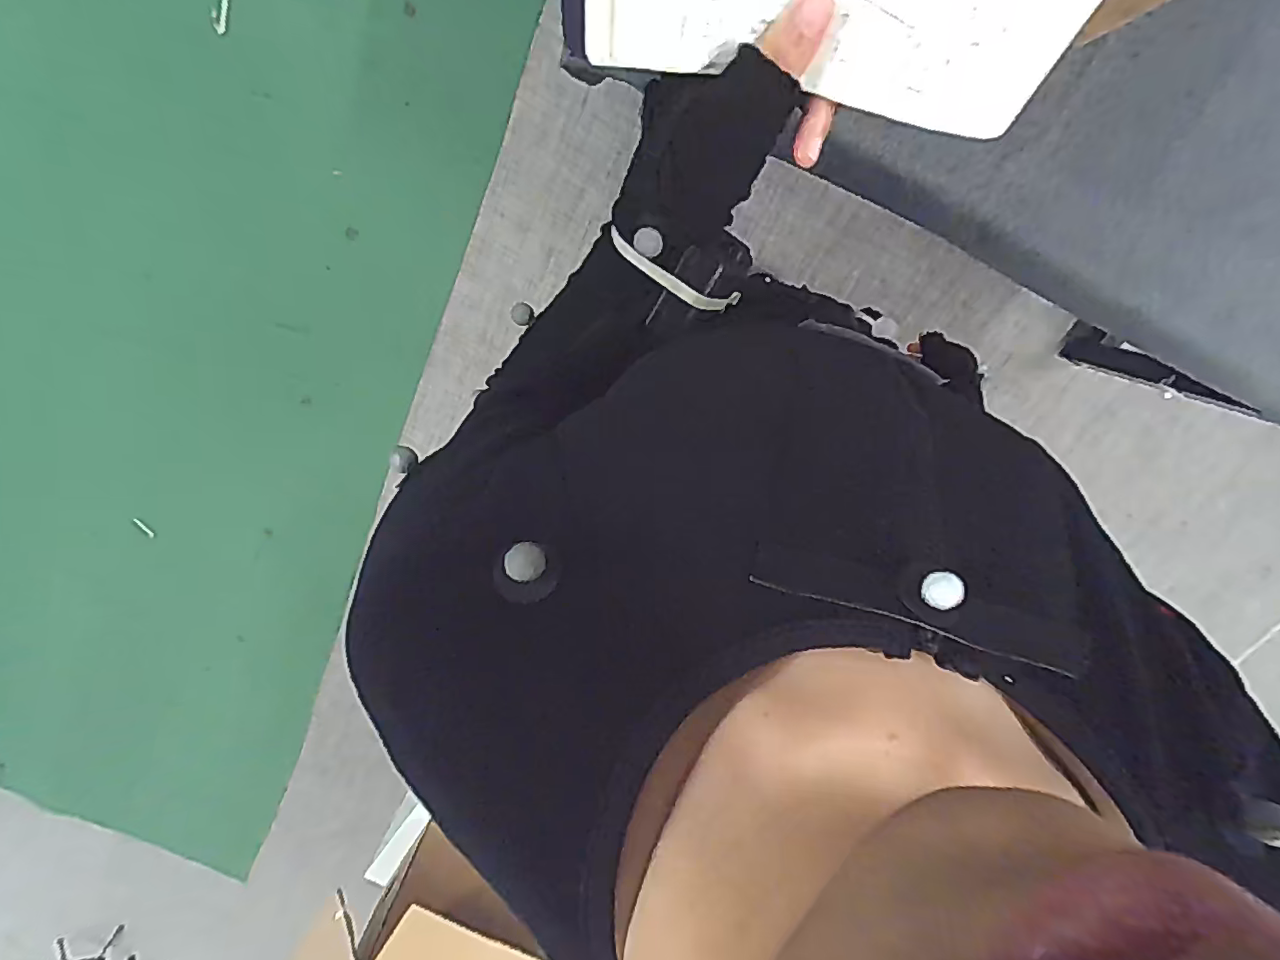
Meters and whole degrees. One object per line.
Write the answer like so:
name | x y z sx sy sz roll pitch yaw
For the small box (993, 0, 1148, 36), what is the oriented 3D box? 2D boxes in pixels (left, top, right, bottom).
small box | 0.388 -0.509 0.426 0.168 0.176 0.179 21 113 -4
